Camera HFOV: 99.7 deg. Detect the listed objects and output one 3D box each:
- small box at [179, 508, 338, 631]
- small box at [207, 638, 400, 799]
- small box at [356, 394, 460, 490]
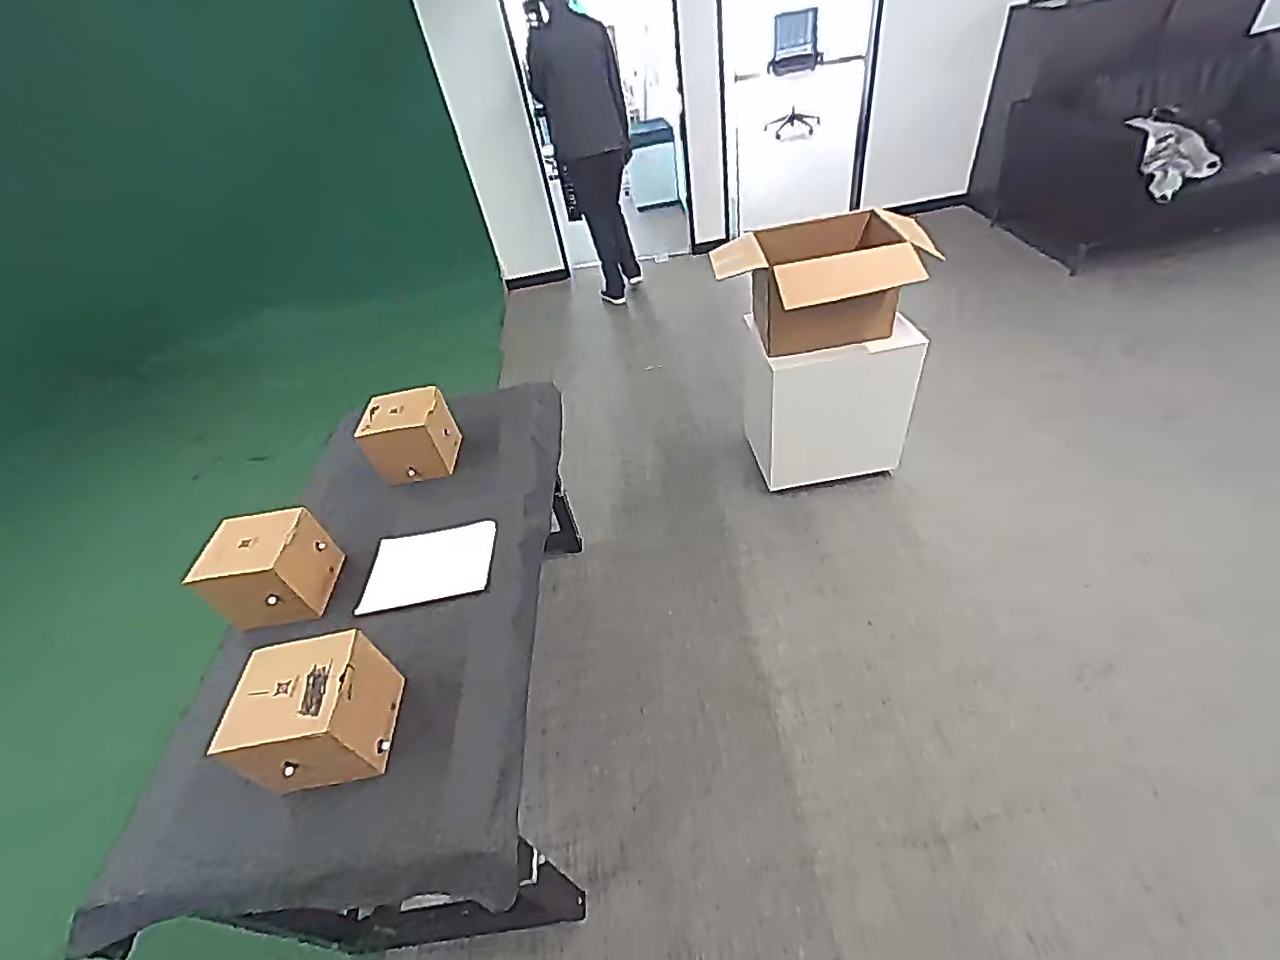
[{"bbox_3d":[-0.752,0.183,1.094,0.179,0.176,0.168,-10,41,2],"label":"small box"},{"bbox_3d":[-0.508,0.377,0.854,0.179,0.176,0.168,-11,42,1],"label":"small box"},{"bbox_3d":[-0.578,-0.094,1.377,0.179,0.176,0.168,-8,42,1],"label":"small box"}]
